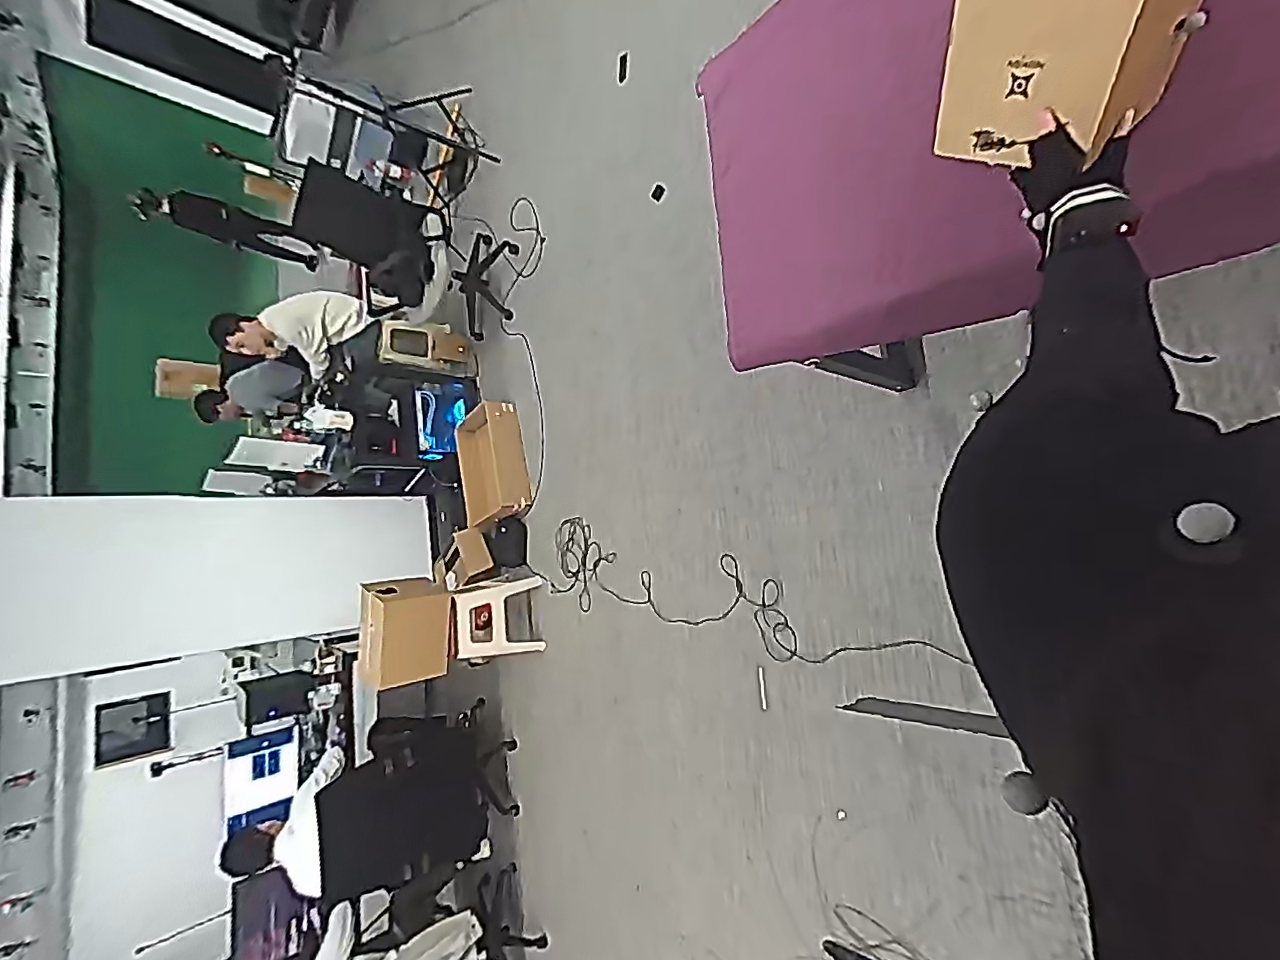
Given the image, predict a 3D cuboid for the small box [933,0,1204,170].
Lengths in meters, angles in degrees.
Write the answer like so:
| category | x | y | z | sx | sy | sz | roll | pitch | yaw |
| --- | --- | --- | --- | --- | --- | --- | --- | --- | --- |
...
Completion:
| category | x | y | z | sx | sy | sz | roll | pitch | yaw |
| --- | --- | --- | --- | --- | --- | --- | --- | --- | --- |
| small box | 0.443 | -0.461 | 0.558 | 0.168 | 0.176 | 0.179 | 39 | 163 | 37 |
